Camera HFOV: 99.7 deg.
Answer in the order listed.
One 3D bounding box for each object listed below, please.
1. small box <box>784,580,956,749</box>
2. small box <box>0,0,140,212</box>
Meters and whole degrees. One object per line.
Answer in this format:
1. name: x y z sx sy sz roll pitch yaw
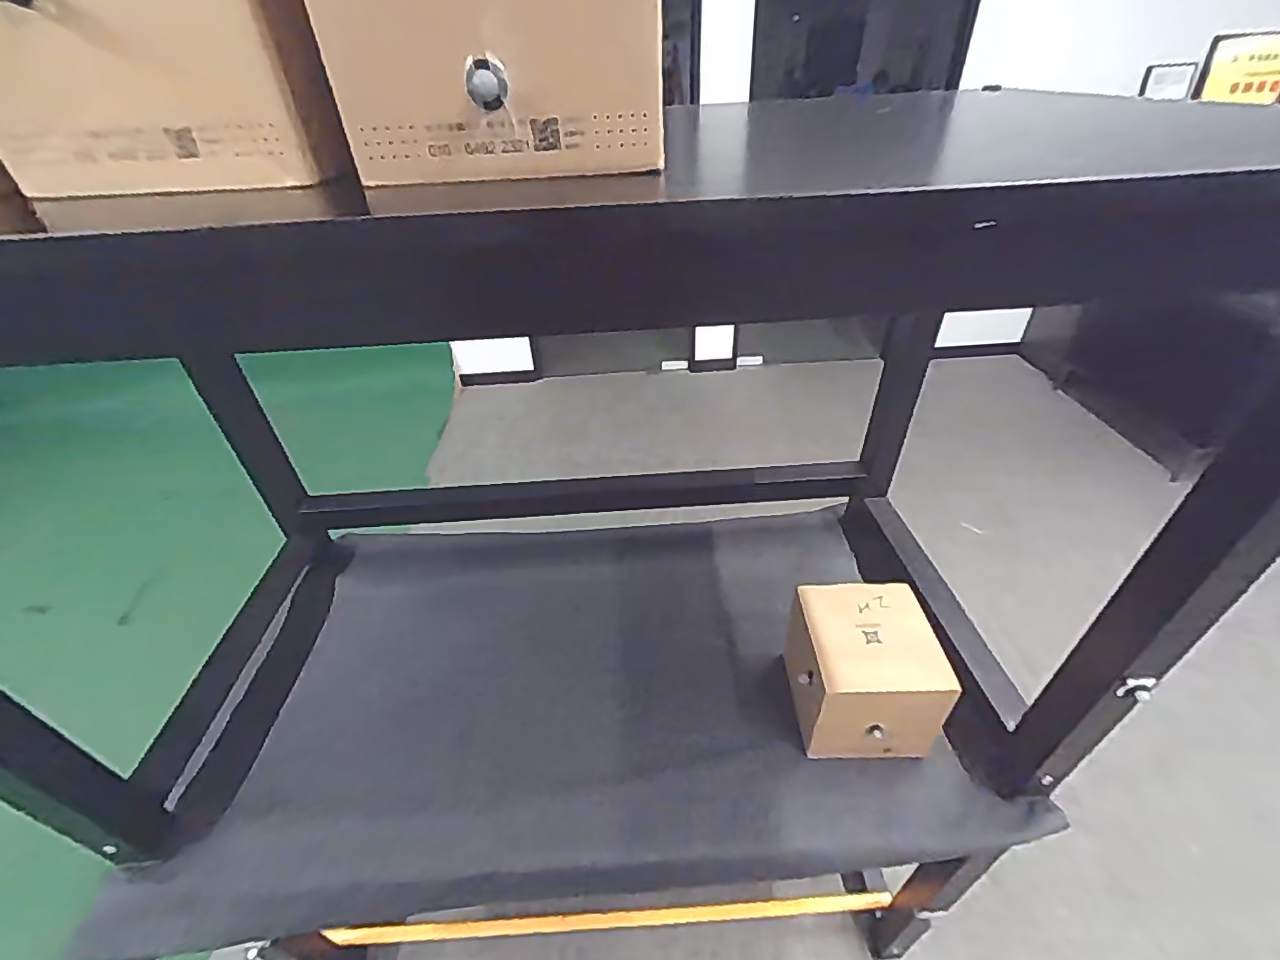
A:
1. small box: 0.313 0.266 0.777 0.168 0.176 0.179 -1 37 2
2. small box: -0.463 -0.261 0.319 0.168 0.176 0.179 -3 39 0
